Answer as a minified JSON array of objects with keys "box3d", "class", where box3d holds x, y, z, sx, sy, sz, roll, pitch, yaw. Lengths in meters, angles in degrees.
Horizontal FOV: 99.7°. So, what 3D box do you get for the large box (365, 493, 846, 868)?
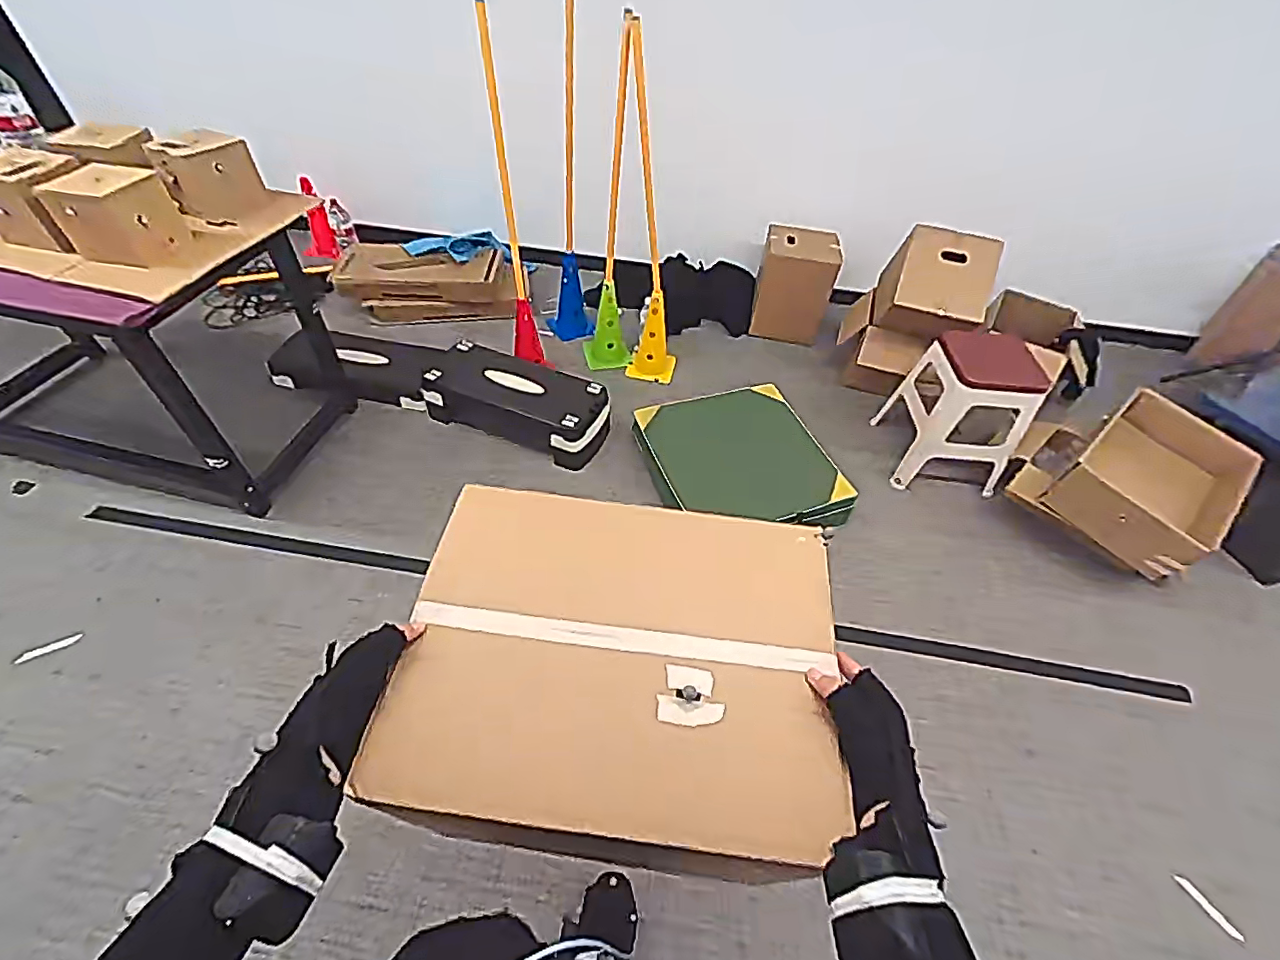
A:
[{"box3d":[-0.024,0.245,0.643,0.408,0.320,0.320,7,53,2],"class":"large box"}]
